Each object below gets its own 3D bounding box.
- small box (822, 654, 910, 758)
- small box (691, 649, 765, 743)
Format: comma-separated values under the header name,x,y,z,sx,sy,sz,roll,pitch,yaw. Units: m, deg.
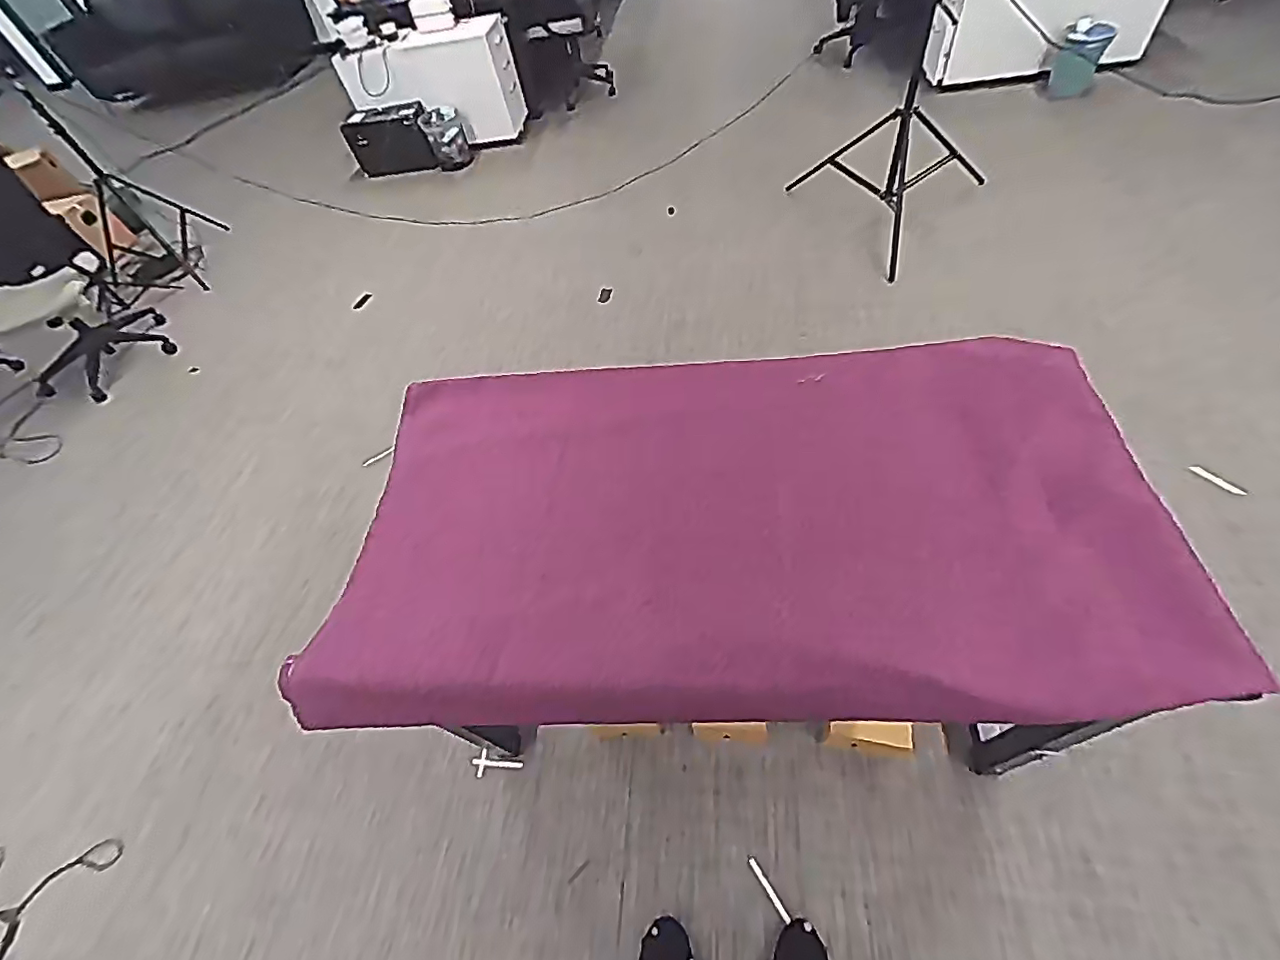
name,x,y,z,sx,sy,sz,roll,pitch,yaw
small box,0.521,0.531,1.261,0.168,0.176,0.179,5,55,15
small box,0.217,0.529,1.316,0.168,0.176,0.179,0,54,10
